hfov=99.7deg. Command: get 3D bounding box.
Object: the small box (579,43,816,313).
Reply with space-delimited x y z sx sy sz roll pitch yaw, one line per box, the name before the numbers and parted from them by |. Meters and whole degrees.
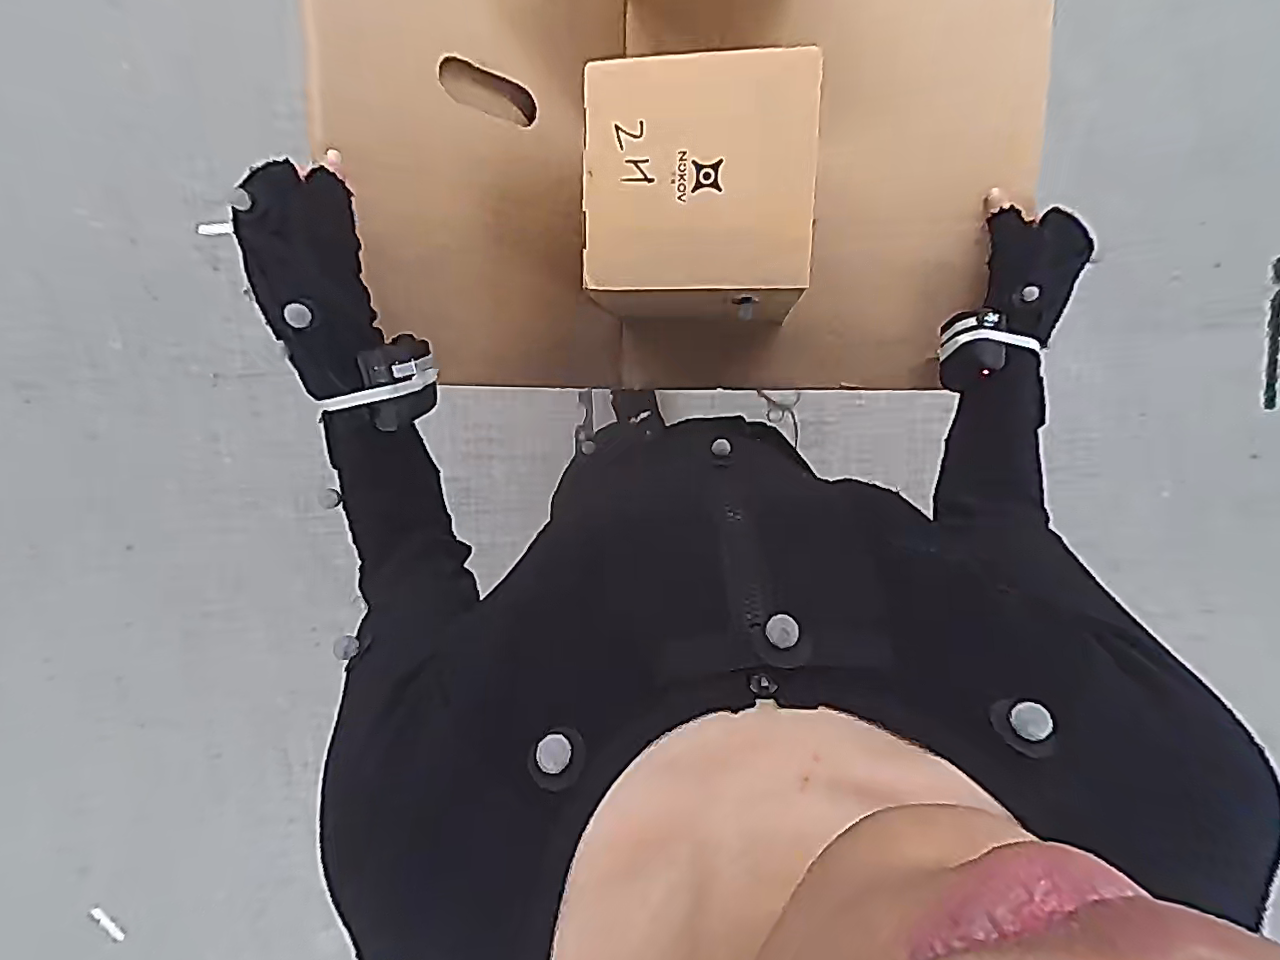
small box | 0.051 -0.251 0.491 0.179 0.176 0.168 3 98 9
